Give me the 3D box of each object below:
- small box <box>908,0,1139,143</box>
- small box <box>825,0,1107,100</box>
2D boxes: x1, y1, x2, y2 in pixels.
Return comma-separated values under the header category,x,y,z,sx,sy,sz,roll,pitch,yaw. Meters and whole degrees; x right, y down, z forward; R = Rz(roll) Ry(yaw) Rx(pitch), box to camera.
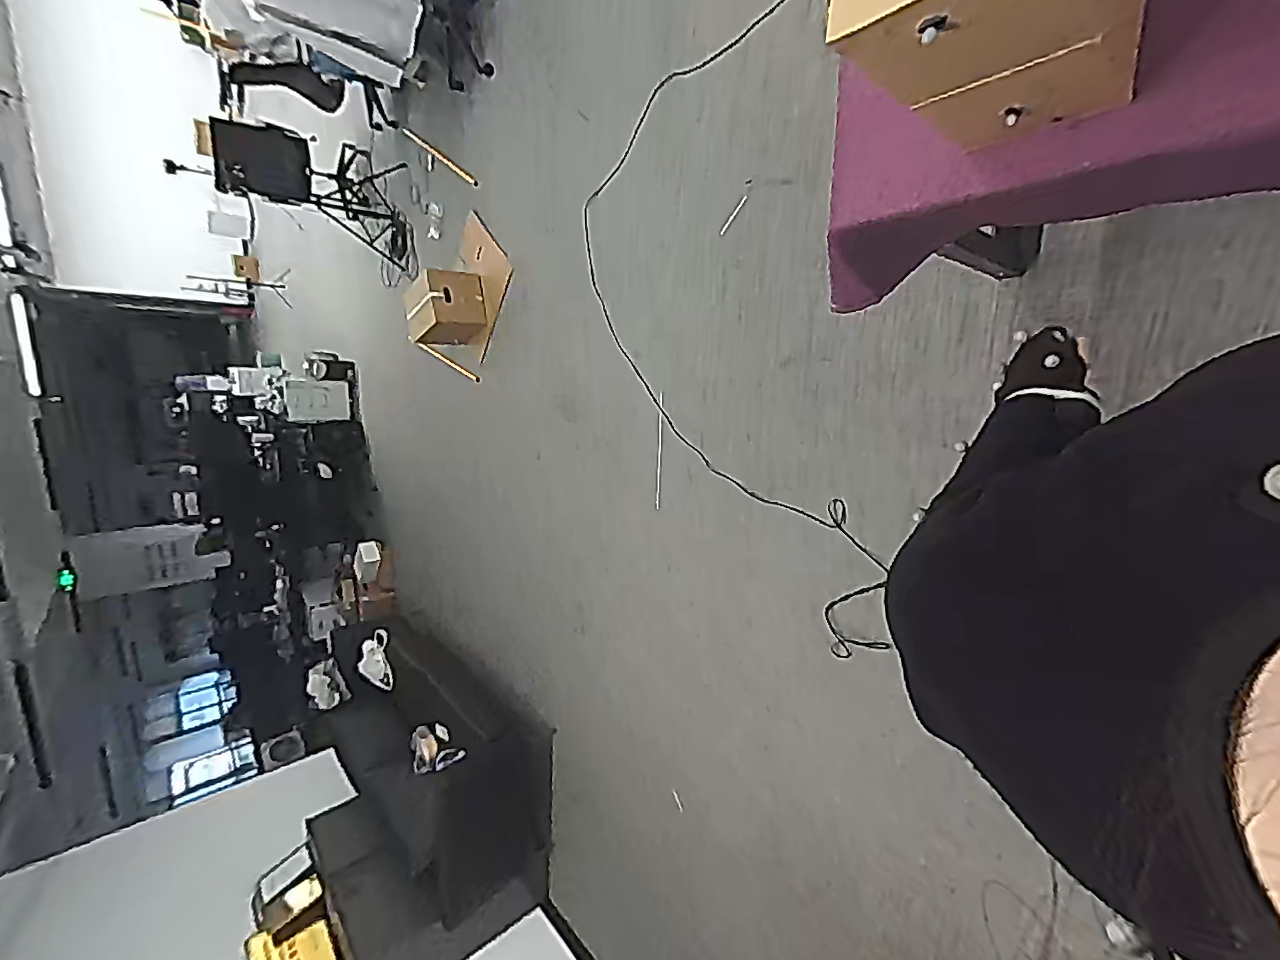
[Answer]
category,x,y,z,sx,sy,sz,roll,pitch,yaw
small box,0.410,-0.489,0.576,0.168,0.176,0.179,11,104,47
small box,0.286,-0.471,0.468,0.179,0.176,0.168,10,104,47
